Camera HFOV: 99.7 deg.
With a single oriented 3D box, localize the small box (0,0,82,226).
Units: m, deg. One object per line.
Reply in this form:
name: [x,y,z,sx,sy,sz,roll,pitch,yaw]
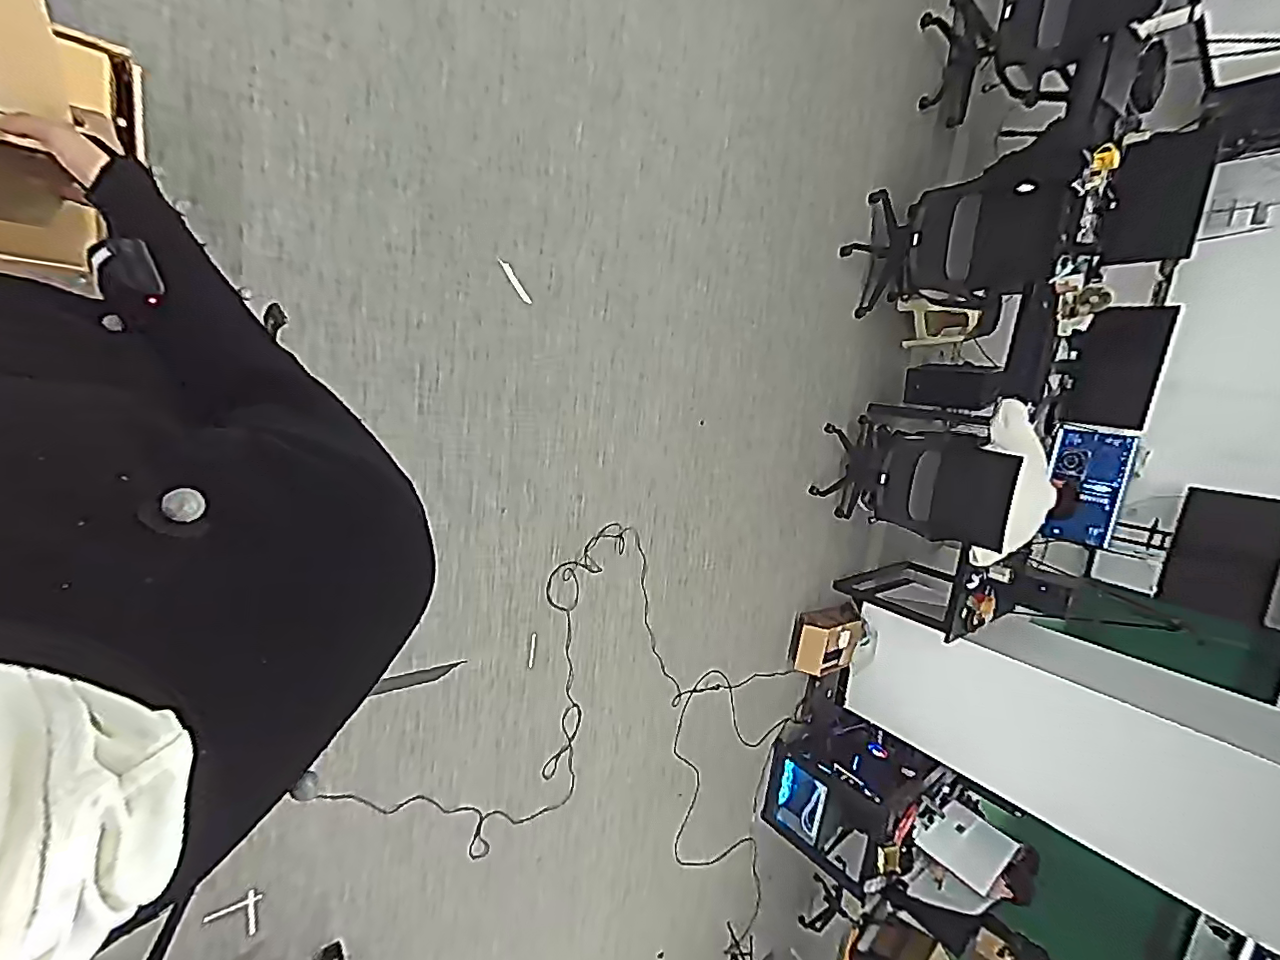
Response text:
small box: [-0.655,-0.359,0.491,0.168,0.176,0.179,-16,97,-55]
